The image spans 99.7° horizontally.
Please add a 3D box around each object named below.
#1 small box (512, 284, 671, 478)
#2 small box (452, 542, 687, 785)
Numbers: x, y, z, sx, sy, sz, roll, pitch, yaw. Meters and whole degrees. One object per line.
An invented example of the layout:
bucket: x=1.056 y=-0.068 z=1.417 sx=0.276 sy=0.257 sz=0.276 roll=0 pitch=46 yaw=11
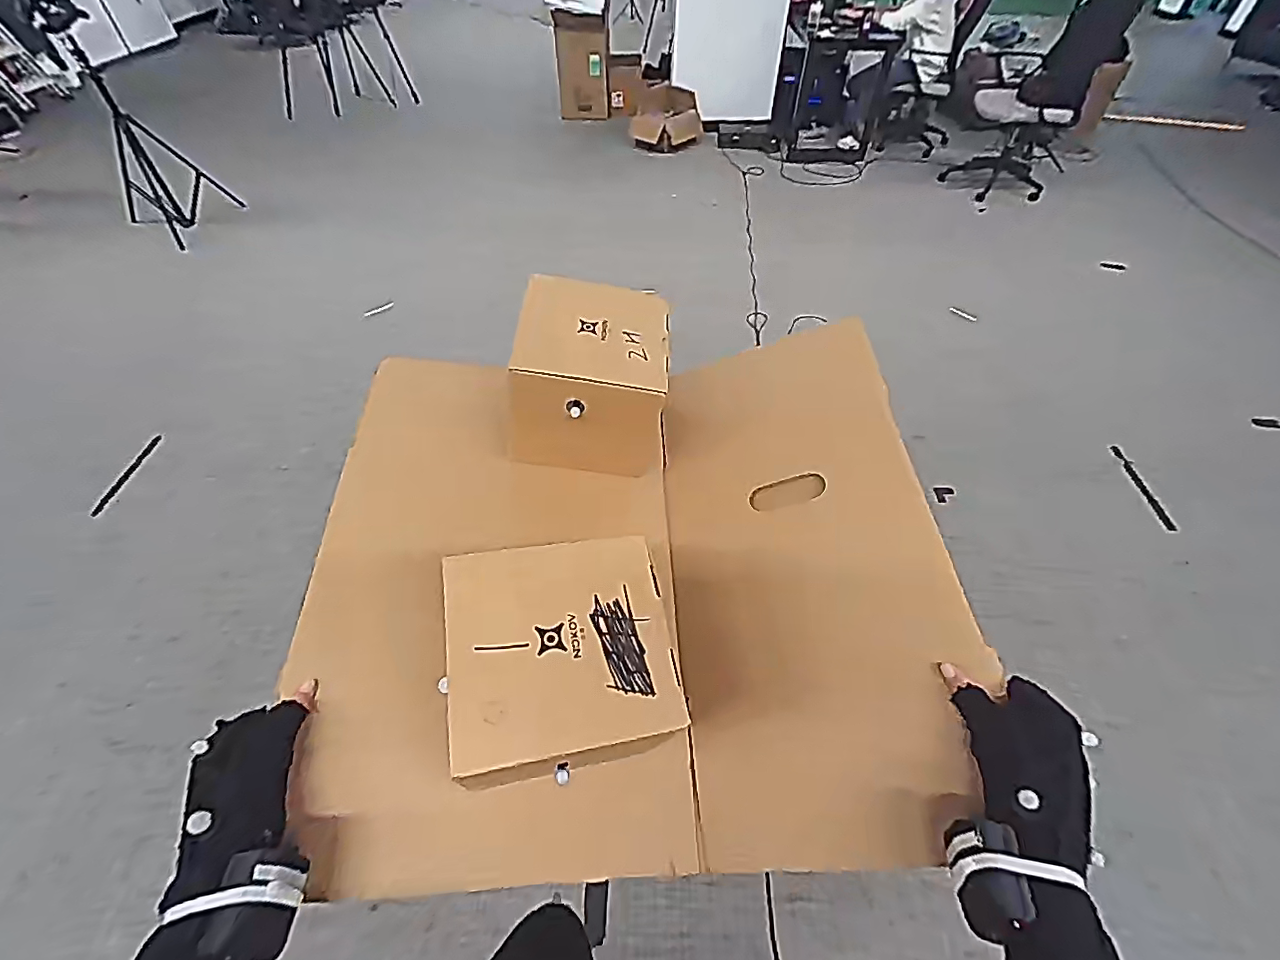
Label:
small box: x=-0.064 y=-0.120 z=0.700 sx=0.179 sy=0.176 sz=0.168 roll=9 pitch=56 yaw=-8
small box: x=-0.075 y=0.173 z=0.504 sx=0.179 sy=0.176 sz=0.168 roll=-5 pitch=59 yaw=-15
